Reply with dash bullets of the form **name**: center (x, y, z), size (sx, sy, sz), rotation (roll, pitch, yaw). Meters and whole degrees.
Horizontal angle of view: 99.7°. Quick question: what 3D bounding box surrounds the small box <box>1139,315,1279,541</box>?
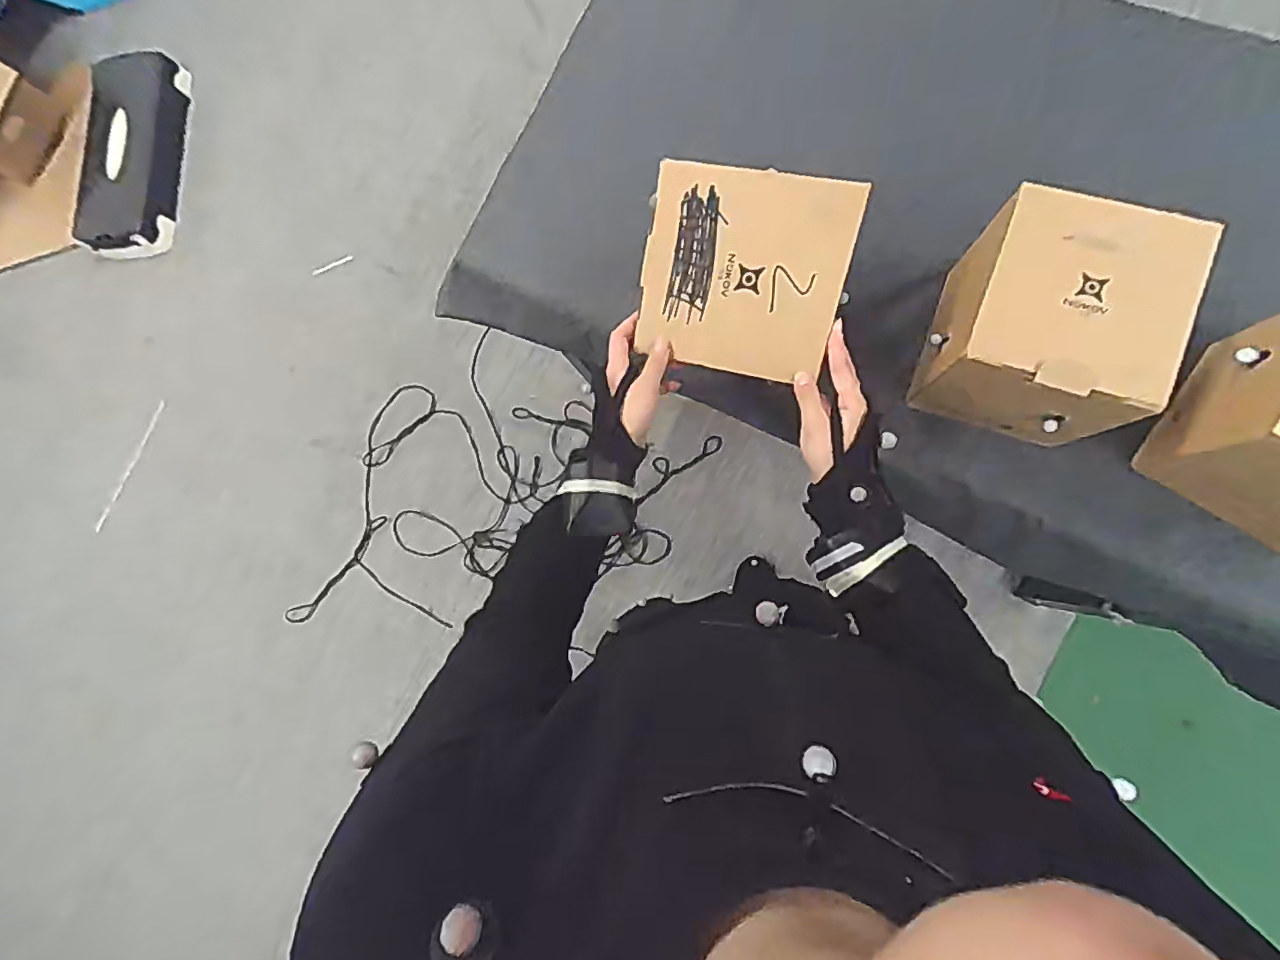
- **small box**: center (0.638, -0.050, 0.499), size (0.179, 0.176, 0.168), rotation (34, 89, 11)
